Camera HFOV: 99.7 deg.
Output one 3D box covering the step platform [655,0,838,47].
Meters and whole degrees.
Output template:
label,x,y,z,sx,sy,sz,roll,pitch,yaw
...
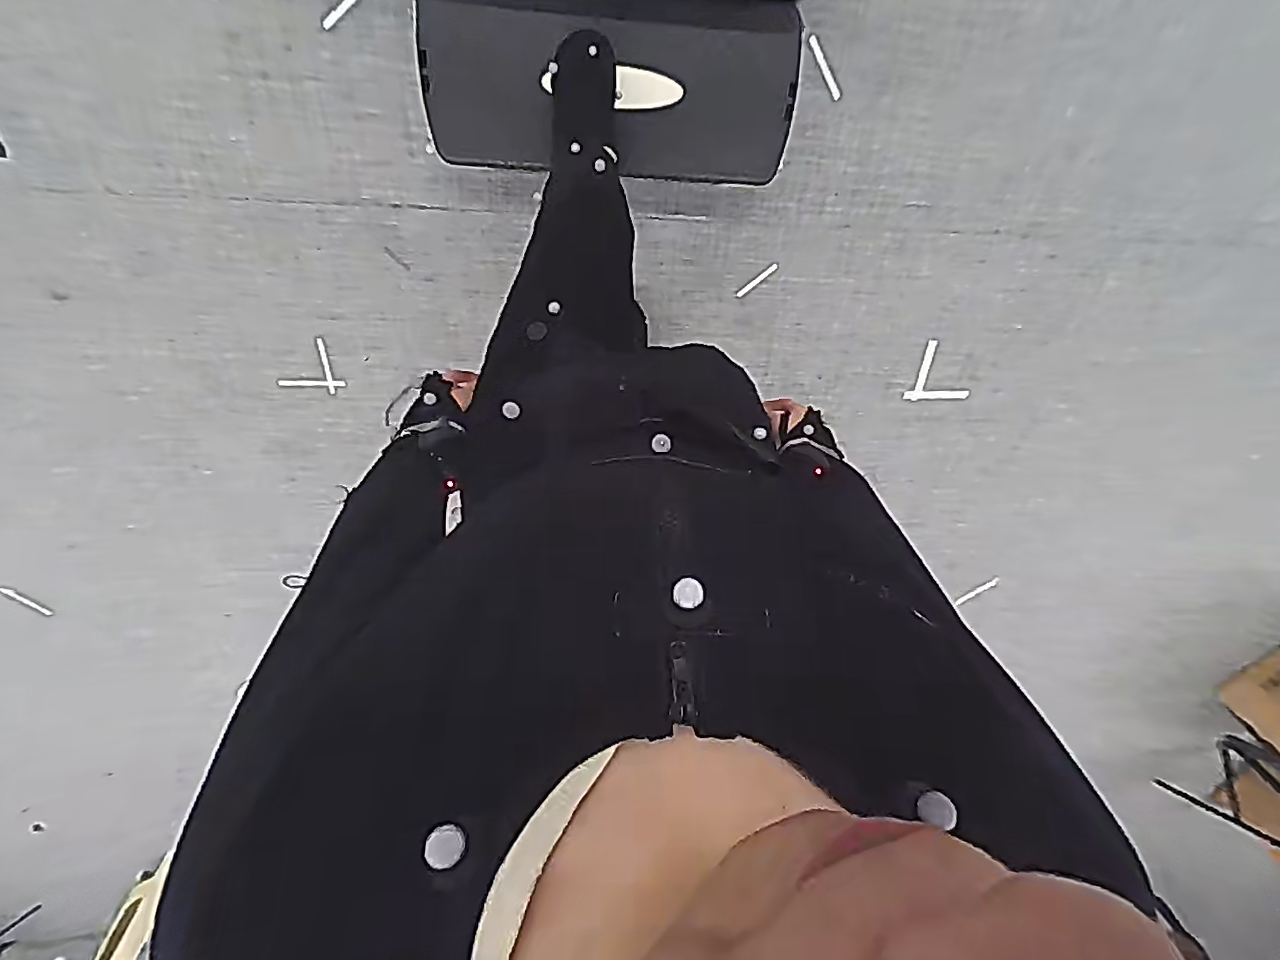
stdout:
label,x,y,z,sx,sy,sz,roll,pitch,yaw
step platform,0.004,-0.909,0.831,0.684,0.204,0.286,4,120,-8
